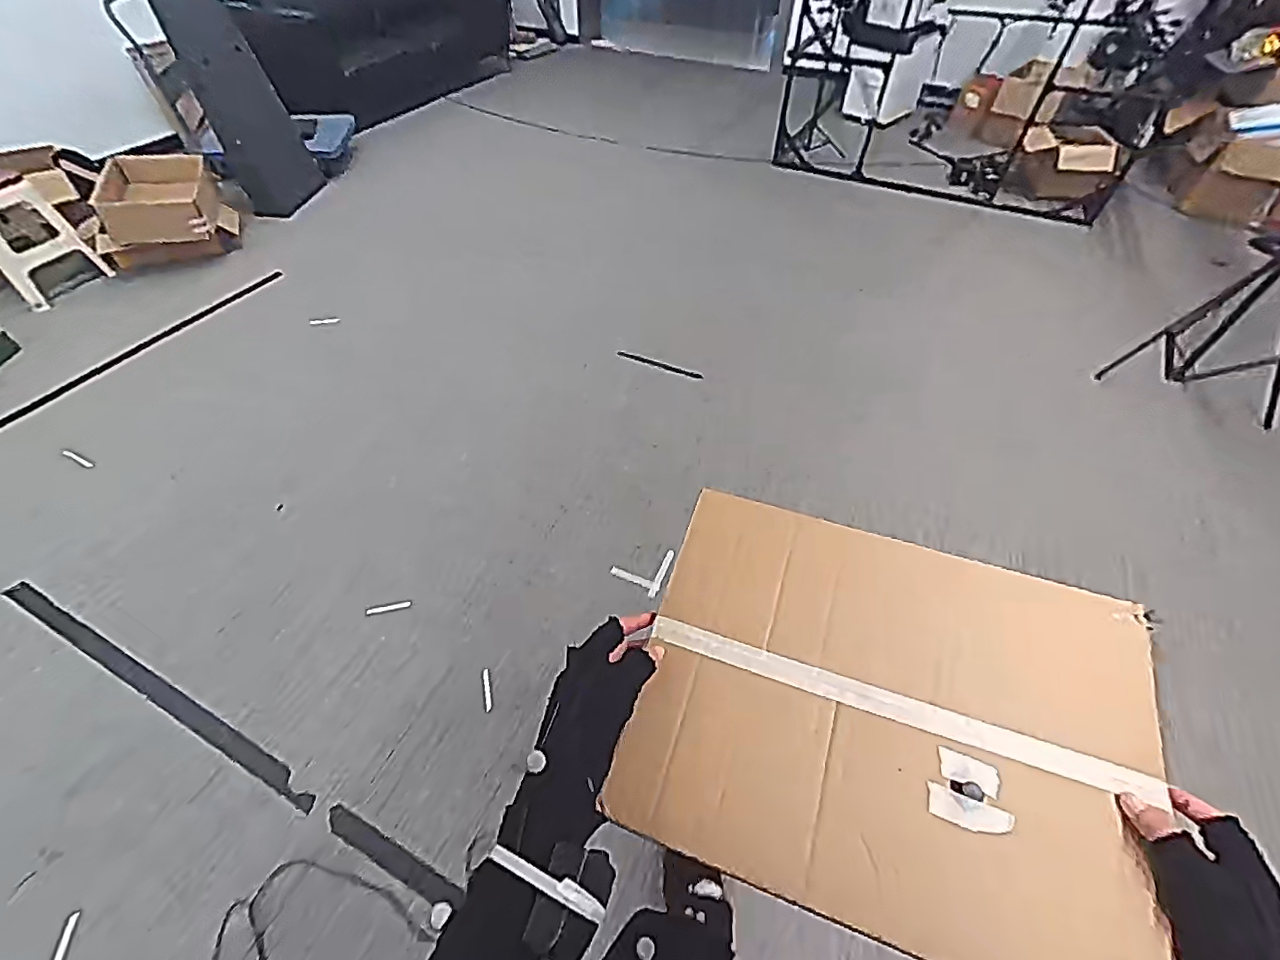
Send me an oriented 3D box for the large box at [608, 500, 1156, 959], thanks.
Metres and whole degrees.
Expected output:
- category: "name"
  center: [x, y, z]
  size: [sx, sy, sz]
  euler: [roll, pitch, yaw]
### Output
- category: "large box"
  center: [0.215, 0.270, 0.597]
  size: [0.408, 0.320, 0.320]
  euler: [15, 61, 14]
